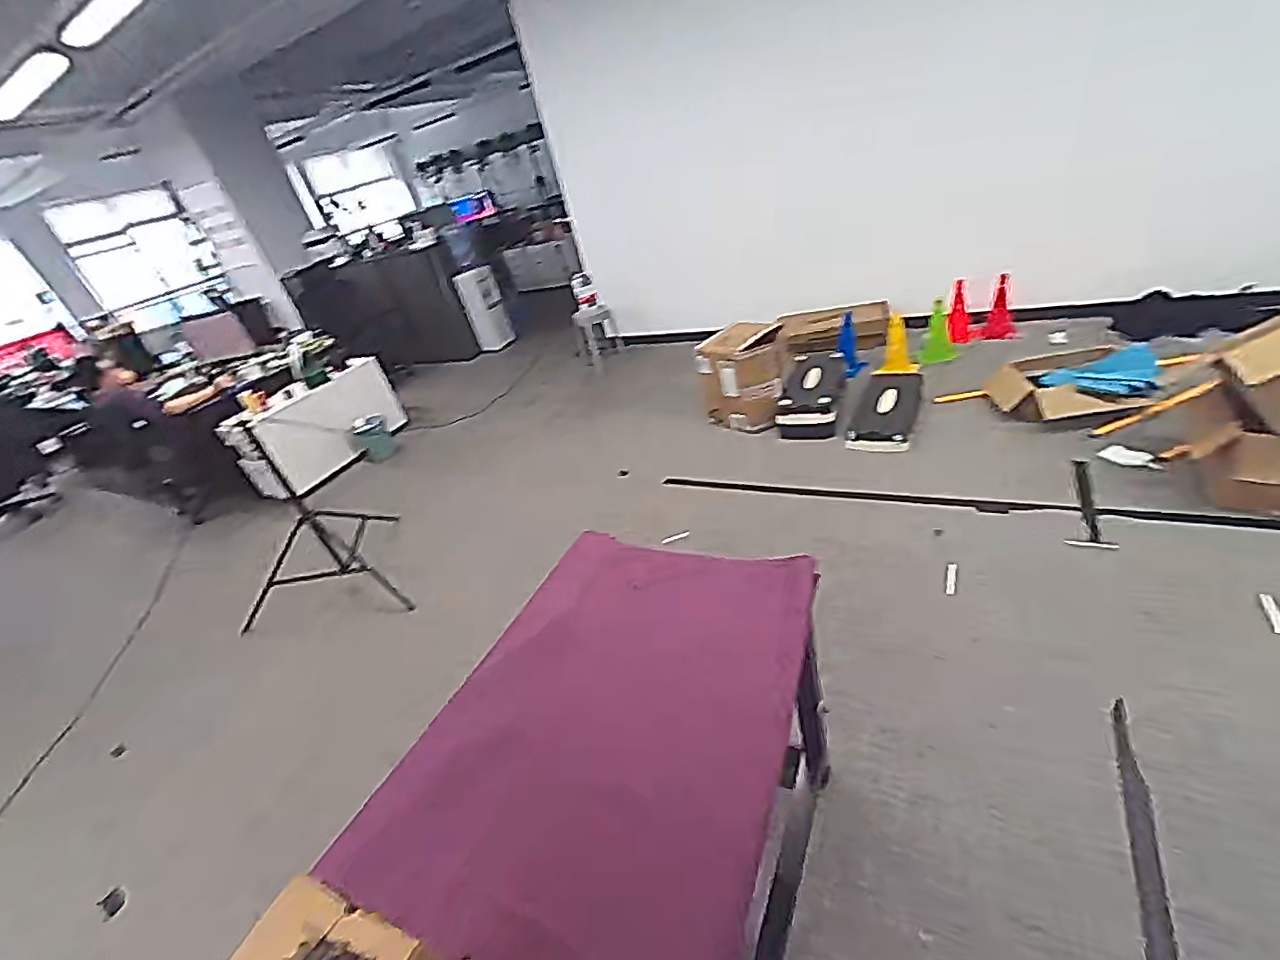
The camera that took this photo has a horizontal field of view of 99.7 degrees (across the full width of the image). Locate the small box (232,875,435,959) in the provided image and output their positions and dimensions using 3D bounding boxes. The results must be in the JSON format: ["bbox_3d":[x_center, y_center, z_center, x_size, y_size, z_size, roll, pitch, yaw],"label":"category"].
[{"bbox_3d":[-0.267,0.493,0.458,0.168,0.176,0.179,2,36,27],"label":"small box"}]
